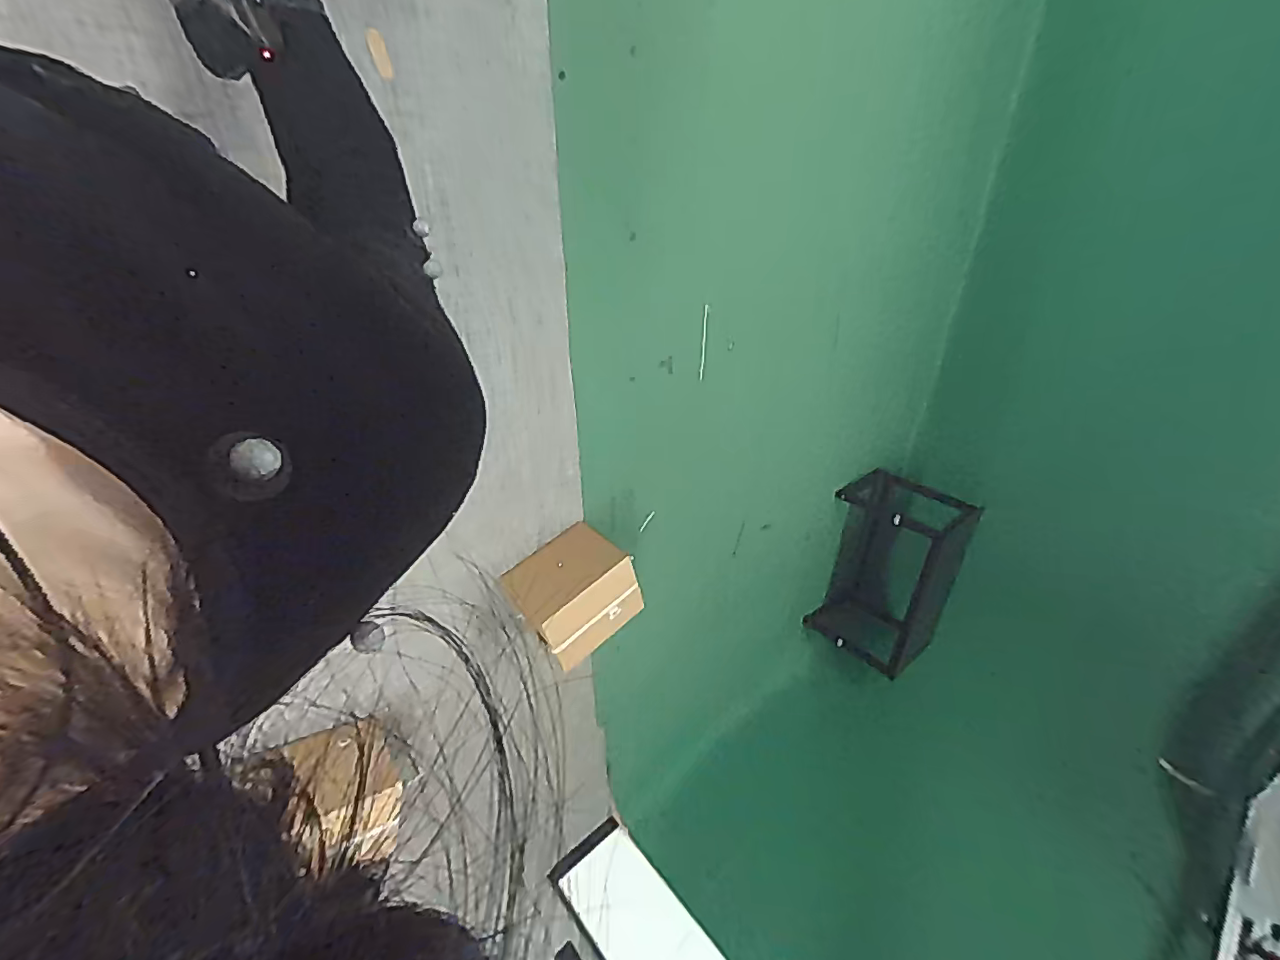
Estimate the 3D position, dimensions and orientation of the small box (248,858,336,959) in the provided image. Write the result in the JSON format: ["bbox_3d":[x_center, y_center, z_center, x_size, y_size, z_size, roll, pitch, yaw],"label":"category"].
[{"bbox_3d":[-0.938,1.176,1.452,0.168,0.176,0.179,-3,115,-44],"label":"small box"}]

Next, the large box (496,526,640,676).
[{"bbox_3d":[-0.270,0.450,2.074,0.408,0.320,0.320,-36,134,-26],"label":"large box"}]
